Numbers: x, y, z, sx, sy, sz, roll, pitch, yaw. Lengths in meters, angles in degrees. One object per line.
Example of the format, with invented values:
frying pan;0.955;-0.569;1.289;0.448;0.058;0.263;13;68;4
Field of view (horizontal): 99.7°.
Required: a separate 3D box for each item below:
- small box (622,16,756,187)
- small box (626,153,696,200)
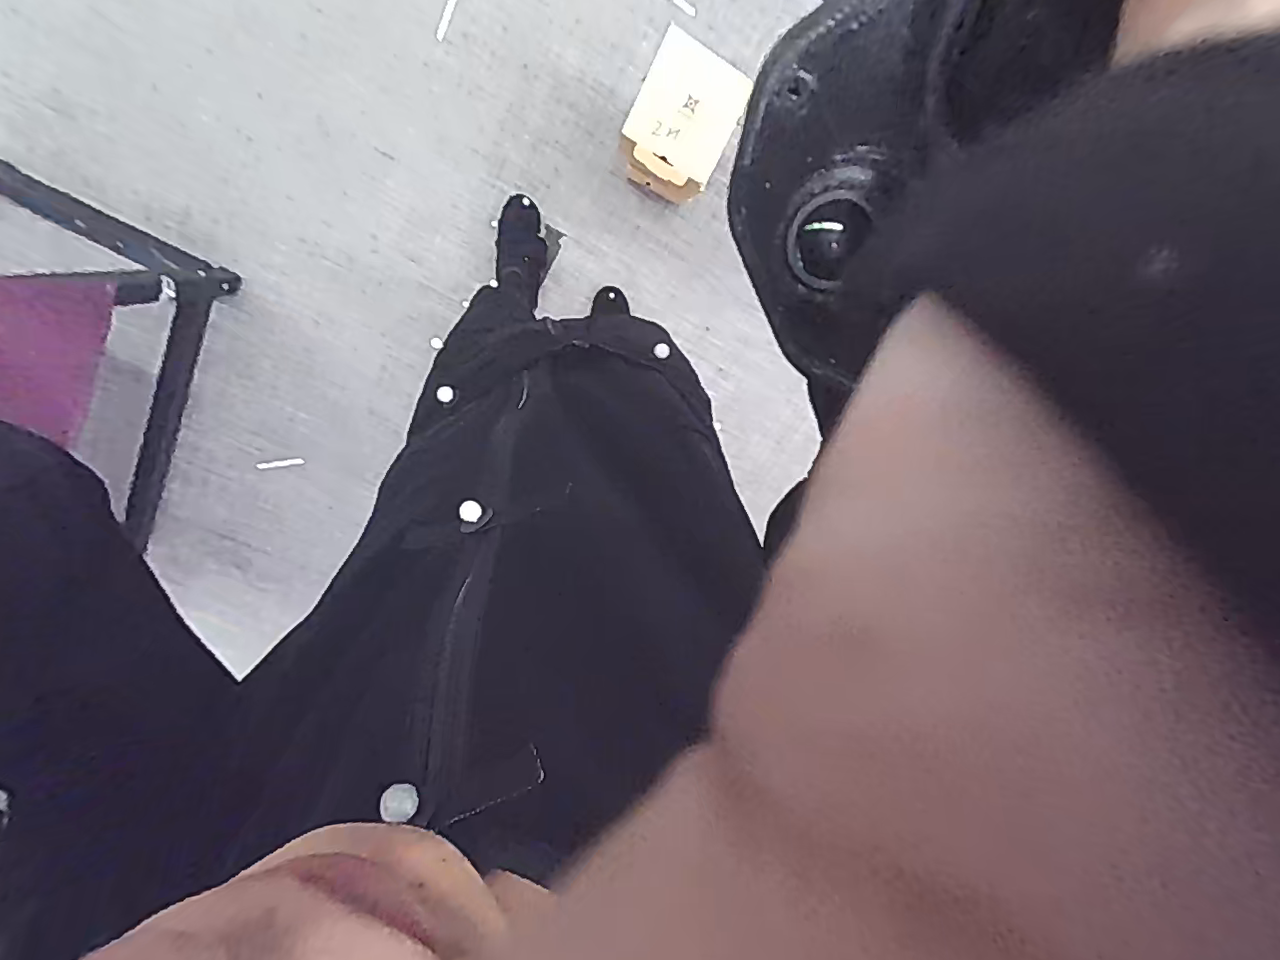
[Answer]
small box;0.075;-0.655;0.964;0.168;0.176;0.179;25;109;-14
small box;0.077;-0.783;1.270;0.168;0.176;0.179;22;109;-12
